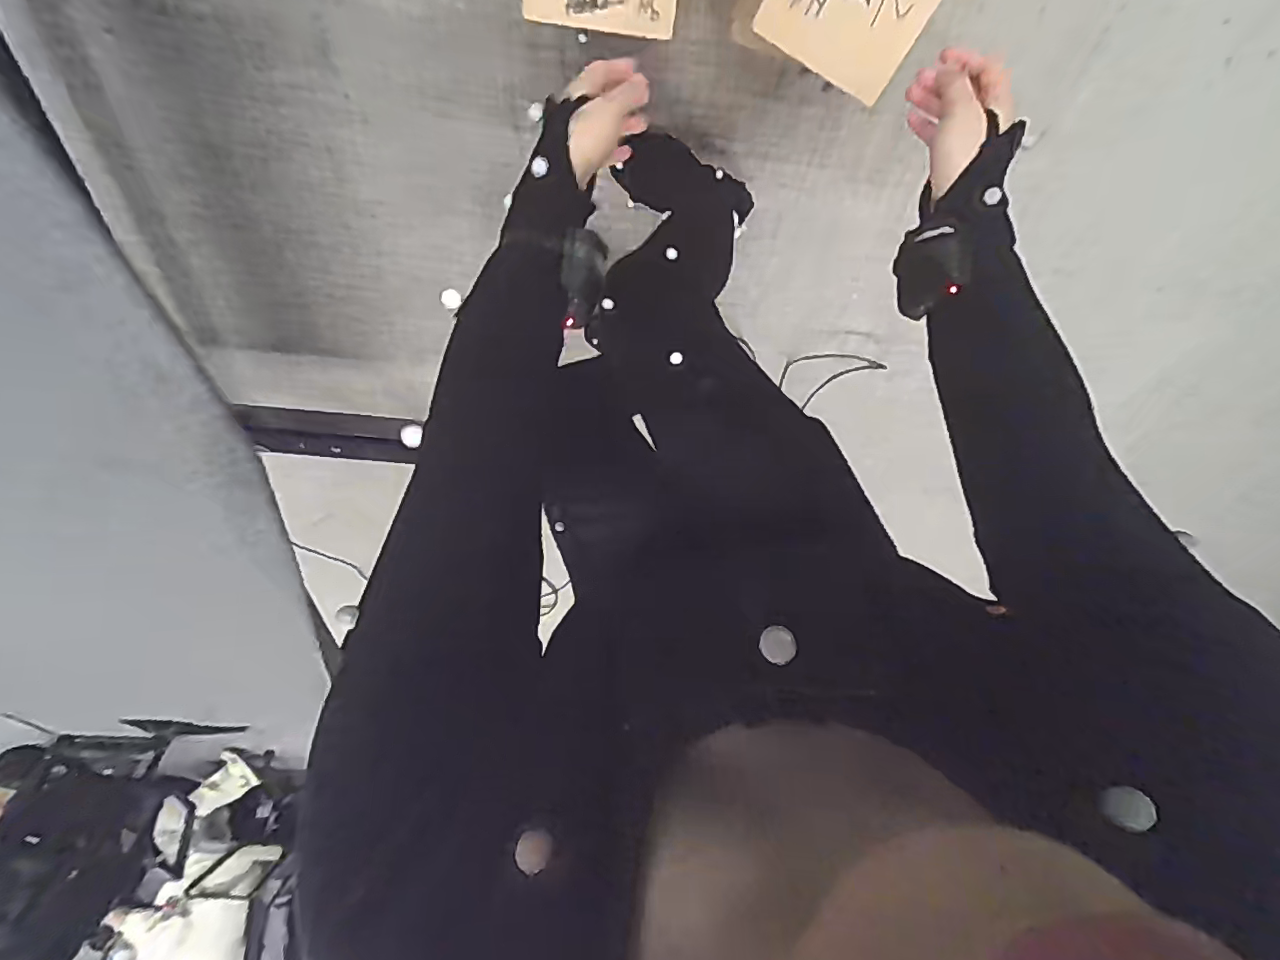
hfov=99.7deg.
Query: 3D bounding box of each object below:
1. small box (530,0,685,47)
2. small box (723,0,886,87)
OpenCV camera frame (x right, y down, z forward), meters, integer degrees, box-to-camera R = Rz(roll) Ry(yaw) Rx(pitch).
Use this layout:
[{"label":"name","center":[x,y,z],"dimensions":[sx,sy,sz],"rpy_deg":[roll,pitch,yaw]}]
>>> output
[{"label":"small box","center":[-0.028,-0.608,0.591],"dimensions":[0.168,0.176,0.179],"rpy_deg":[5,134,-6]},{"label":"small box","center":[0.230,-0.683,0.746],"dimensions":[0.179,0.176,0.168],"rpy_deg":[11,134,-11]}]
